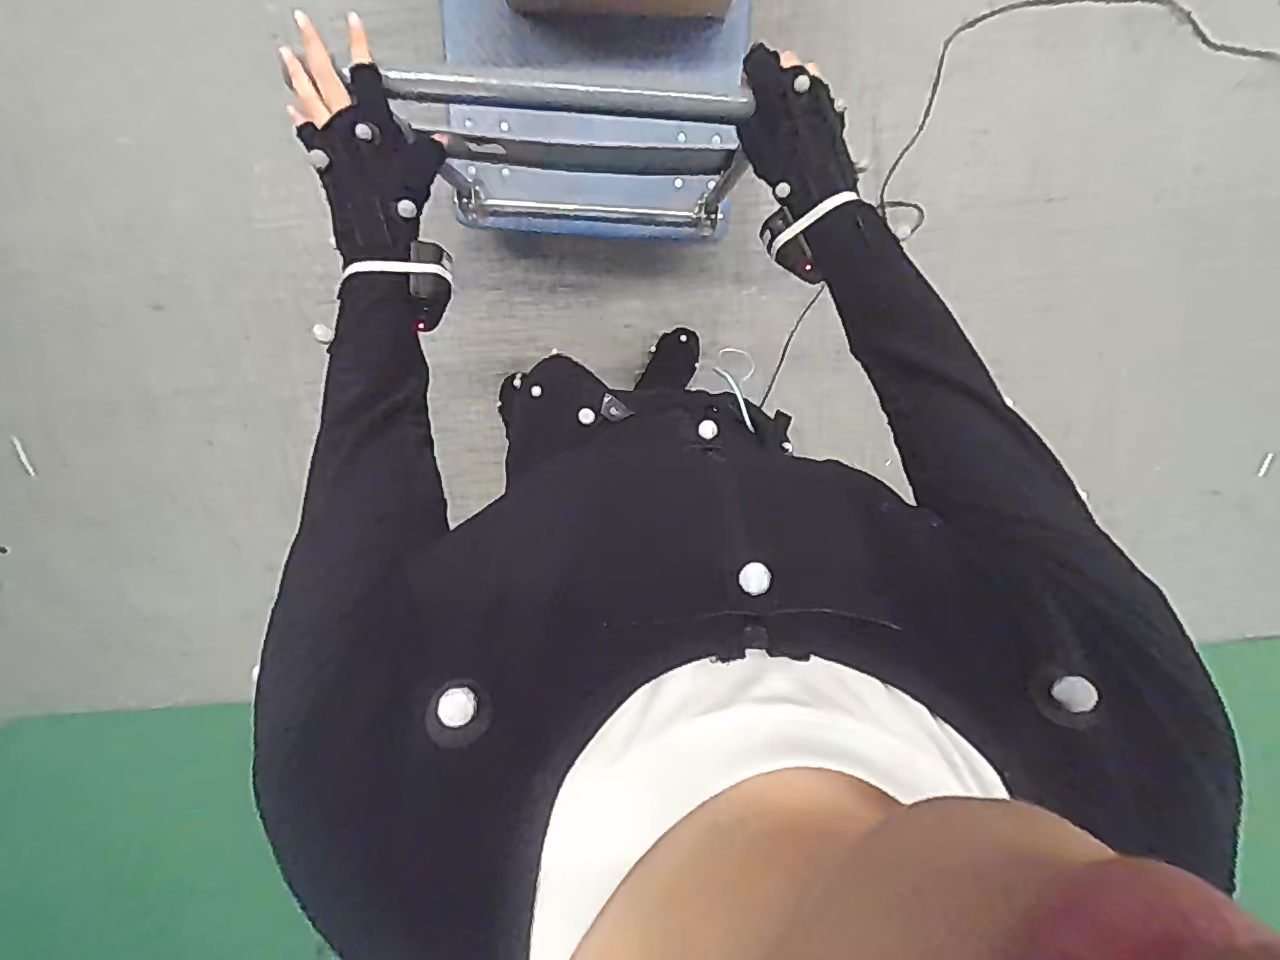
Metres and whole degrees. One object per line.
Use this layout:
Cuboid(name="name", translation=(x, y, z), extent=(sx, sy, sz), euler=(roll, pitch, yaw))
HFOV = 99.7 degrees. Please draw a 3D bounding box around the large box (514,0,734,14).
Cuboid(name="large box", translation=(-0.029, -0.961, 0.819), extent=(0.408, 0.320, 0.320), euler=(0, 110, 0))
